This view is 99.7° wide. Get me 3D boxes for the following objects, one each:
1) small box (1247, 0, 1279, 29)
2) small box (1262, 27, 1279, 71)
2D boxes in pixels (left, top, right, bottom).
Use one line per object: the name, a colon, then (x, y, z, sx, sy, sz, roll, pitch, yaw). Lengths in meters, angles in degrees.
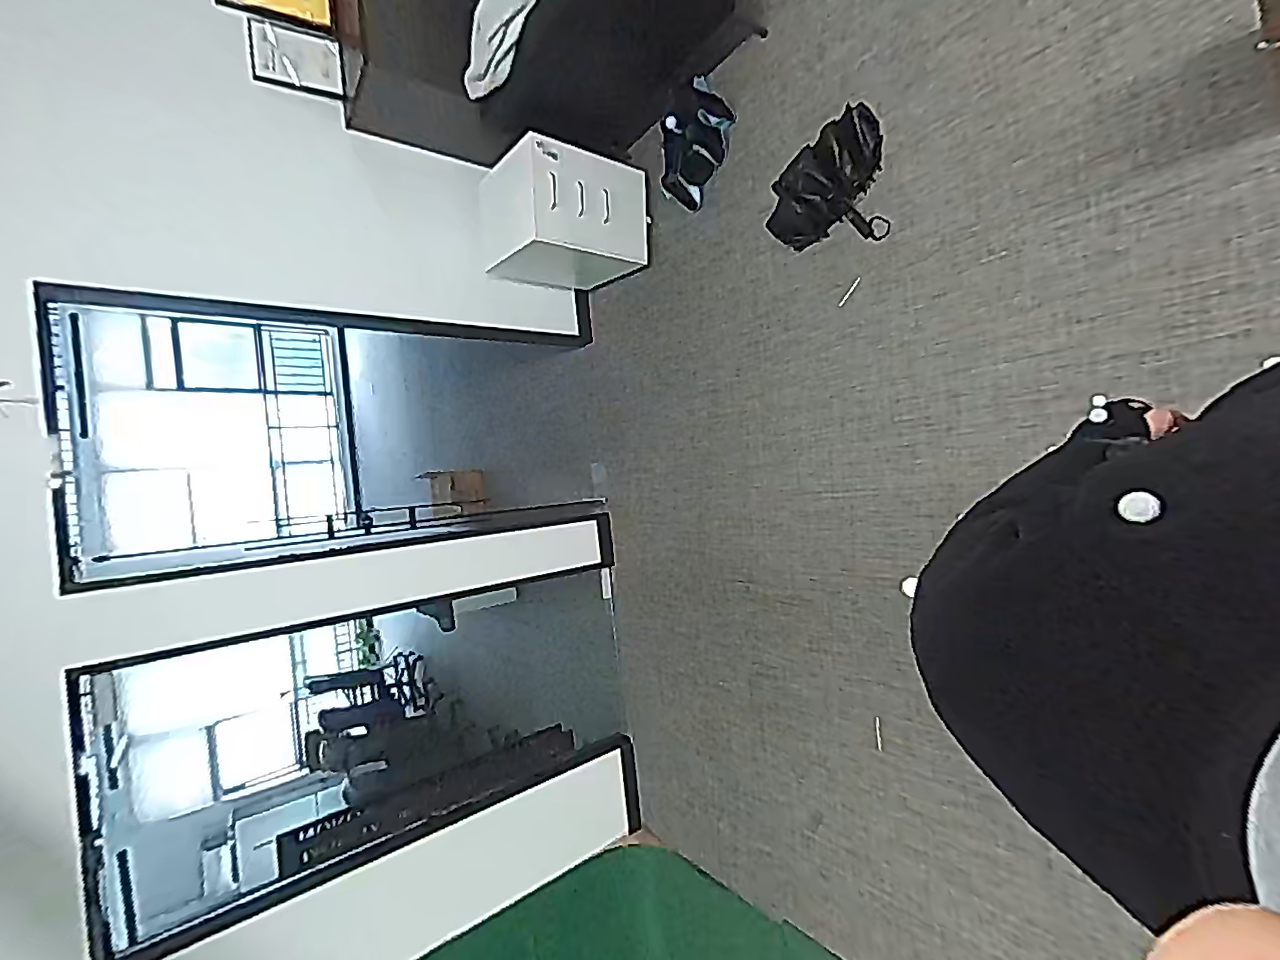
small box: (0.902, -0.716, 0.677, 0.168, 0.176, 0.179, 6, 102, 53)
small box: (1.027, -0.737, 0.780, 0.168, 0.176, 0.179, -5, 91, 53)
